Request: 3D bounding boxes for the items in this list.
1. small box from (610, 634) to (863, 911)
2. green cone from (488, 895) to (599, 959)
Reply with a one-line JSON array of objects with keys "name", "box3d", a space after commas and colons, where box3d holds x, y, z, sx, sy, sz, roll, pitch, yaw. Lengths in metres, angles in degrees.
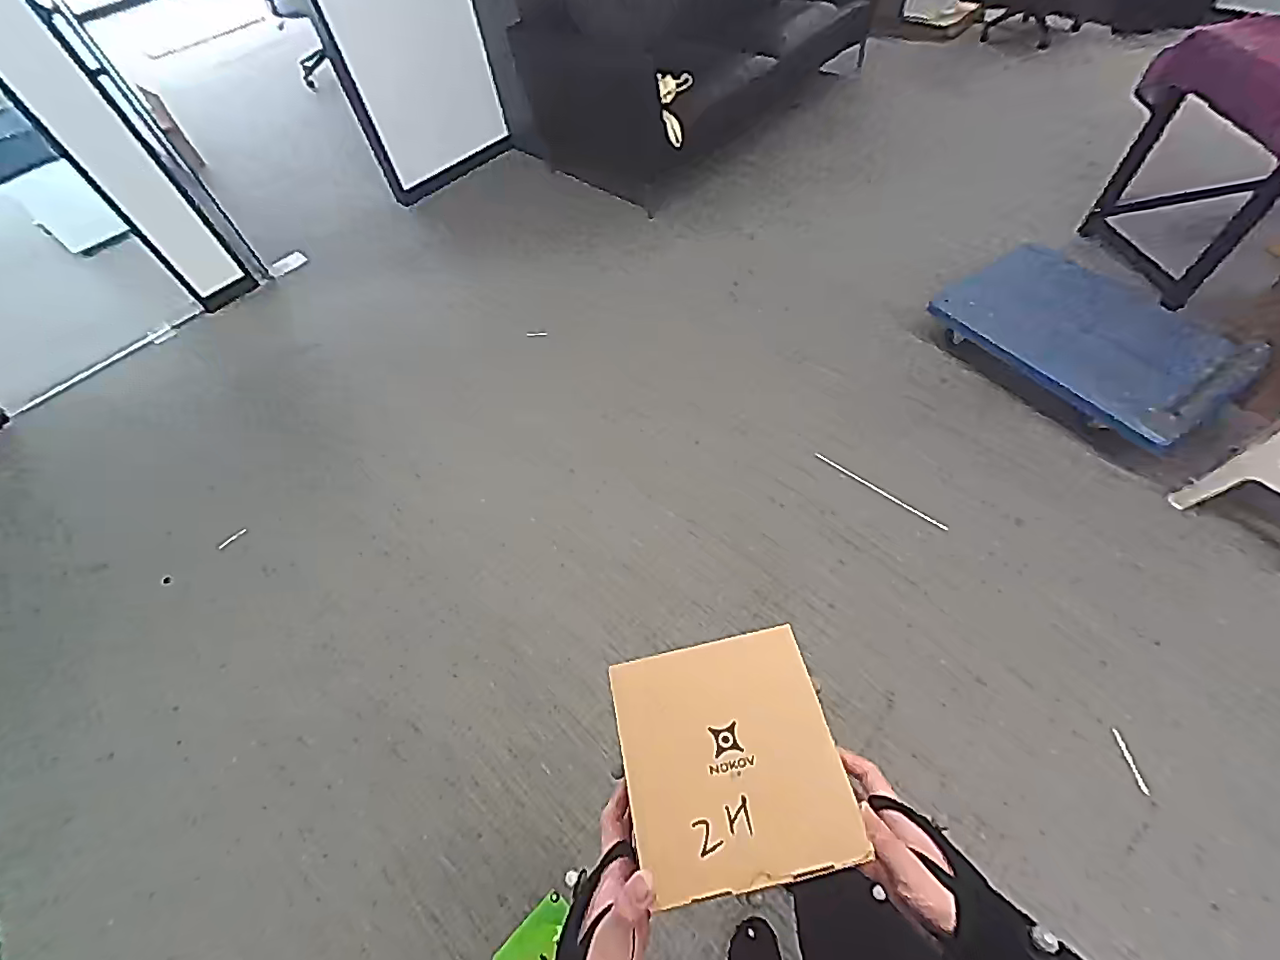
[{"name": "small box", "box3d": [0.073, 0.268, 0.497, 0.168, 0.176, 0.179, -12, 54, -1]}, {"name": "green cone", "box3d": [-0.230, 0.996, 1.064, 0.200, 0.368, 0.202, -41, 62, -19]}]
